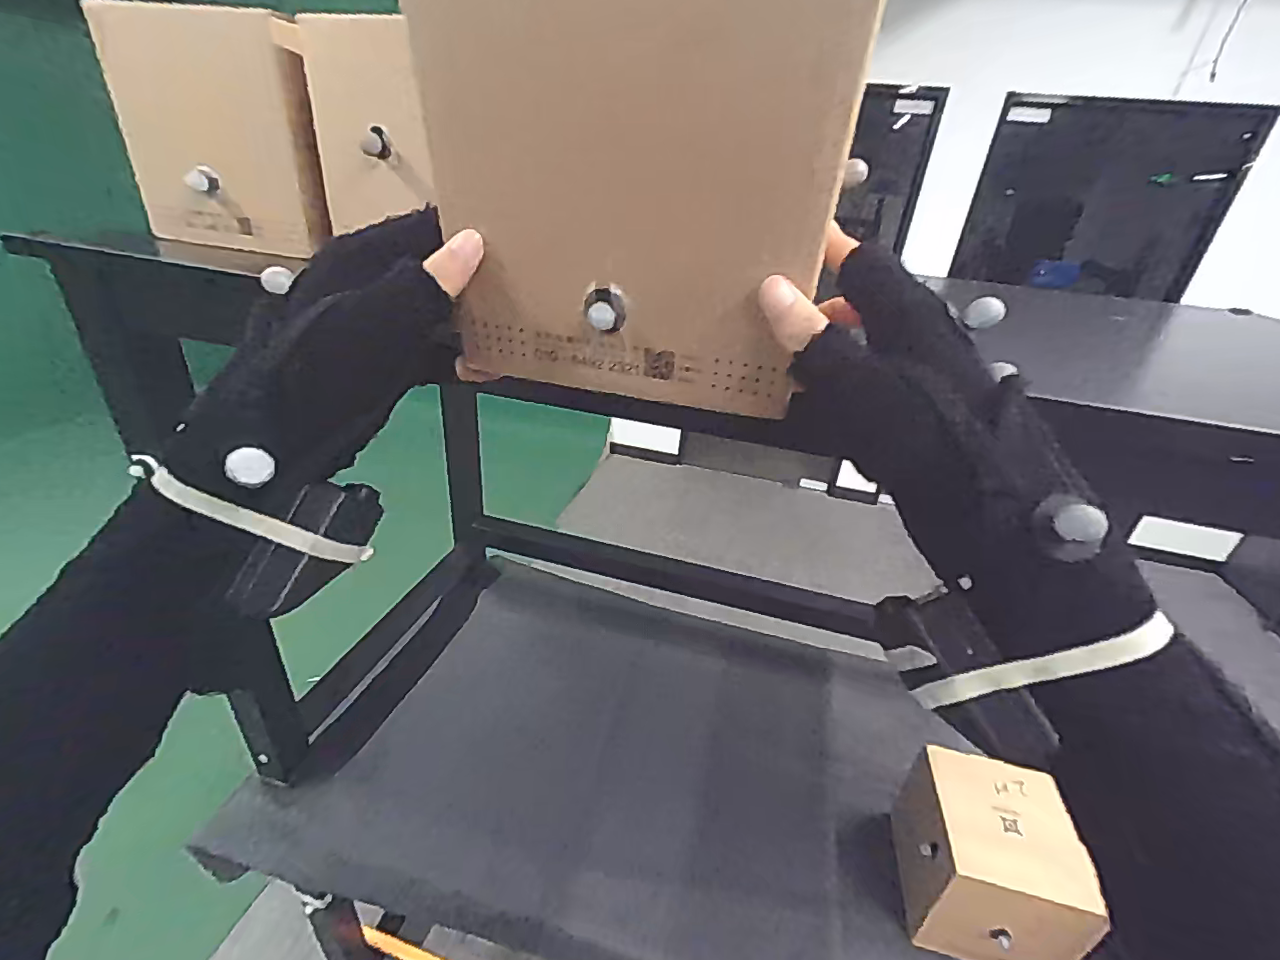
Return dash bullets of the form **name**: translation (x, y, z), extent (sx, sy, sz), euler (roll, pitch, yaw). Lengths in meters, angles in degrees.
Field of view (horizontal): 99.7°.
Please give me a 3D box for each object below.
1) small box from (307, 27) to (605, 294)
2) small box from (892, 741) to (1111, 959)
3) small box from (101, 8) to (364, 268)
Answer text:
- **small box**: translation (-0.139, -0.265, 0.471), extent (0.168, 0.176, 0.179), euler (14, 29, 15)
- **small box**: translation (0.451, 0.491, 0.711), extent (0.168, 0.176, 0.179), euler (11, 28, 10)
- **small box**: translation (-0.321, -0.306, 0.507), extent (0.168, 0.176, 0.179), euler (12, 30, 10)
